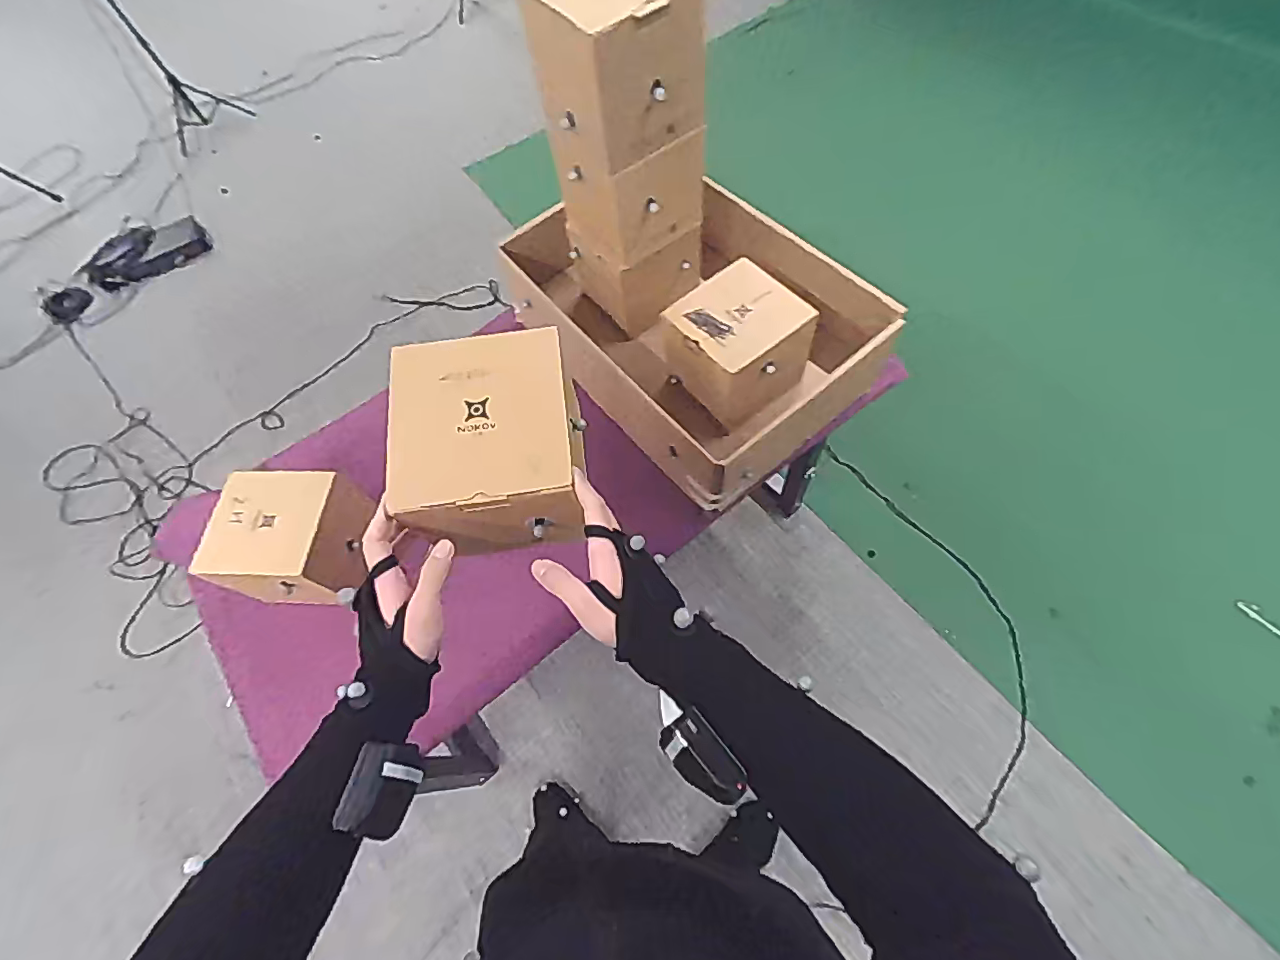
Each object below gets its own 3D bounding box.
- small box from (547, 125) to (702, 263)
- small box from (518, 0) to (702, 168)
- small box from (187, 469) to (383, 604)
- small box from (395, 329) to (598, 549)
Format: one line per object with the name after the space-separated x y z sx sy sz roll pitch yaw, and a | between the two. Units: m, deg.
-0.017 -0.476 0.857 0.168 0.176 0.179 -36 66 -11 | small box
-0.031 -0.549 0.711 0.168 0.176 0.179 -35 67 -11 | small box
-0.544 0.095 0.861 0.179 0.176 0.168 1 63 6 | small box
-0.138 -0.031 0.572 0.168 0.176 0.179 -6 68 -2 | small box
